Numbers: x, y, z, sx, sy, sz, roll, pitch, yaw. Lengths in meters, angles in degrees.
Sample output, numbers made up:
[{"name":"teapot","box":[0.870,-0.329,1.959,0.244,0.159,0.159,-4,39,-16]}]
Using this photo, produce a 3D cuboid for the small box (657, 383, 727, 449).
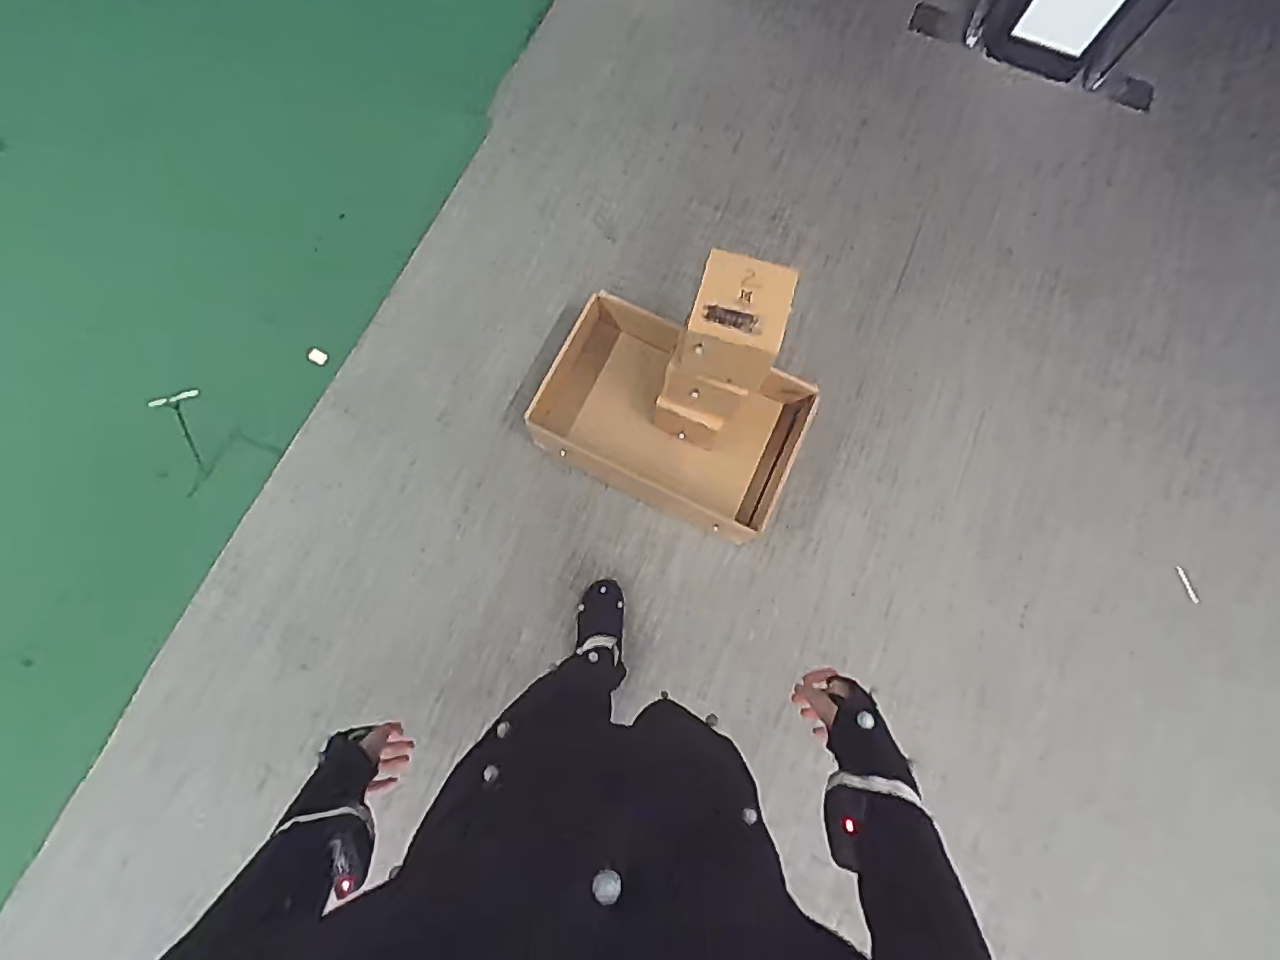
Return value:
[{"name":"small box","box":[0.147,-0.203,1.342,0.168,0.176,0.179,24,79,7]}]

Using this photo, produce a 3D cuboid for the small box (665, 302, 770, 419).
[{"name":"small box","box":[0.162,-0.253,1.185,0.179,0.176,0.168,20,78,6]}]
